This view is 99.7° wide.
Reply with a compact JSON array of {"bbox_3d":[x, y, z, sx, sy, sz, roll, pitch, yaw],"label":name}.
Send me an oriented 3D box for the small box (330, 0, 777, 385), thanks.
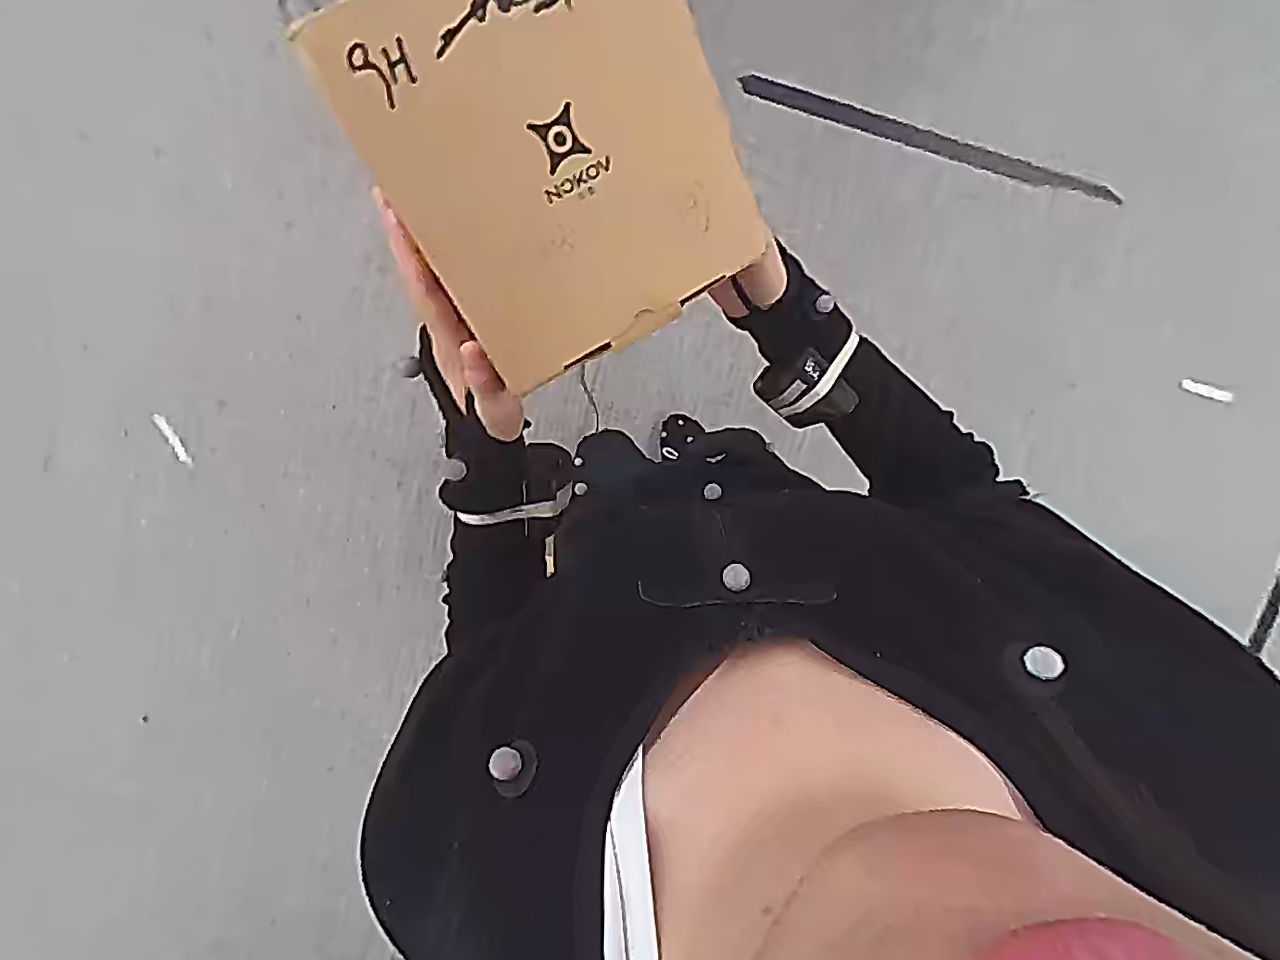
[{"bbox_3d":[-0.047,-0.187,0.339,0.168,0.176,0.179,-30,116,-4],"label":"small box"}]
